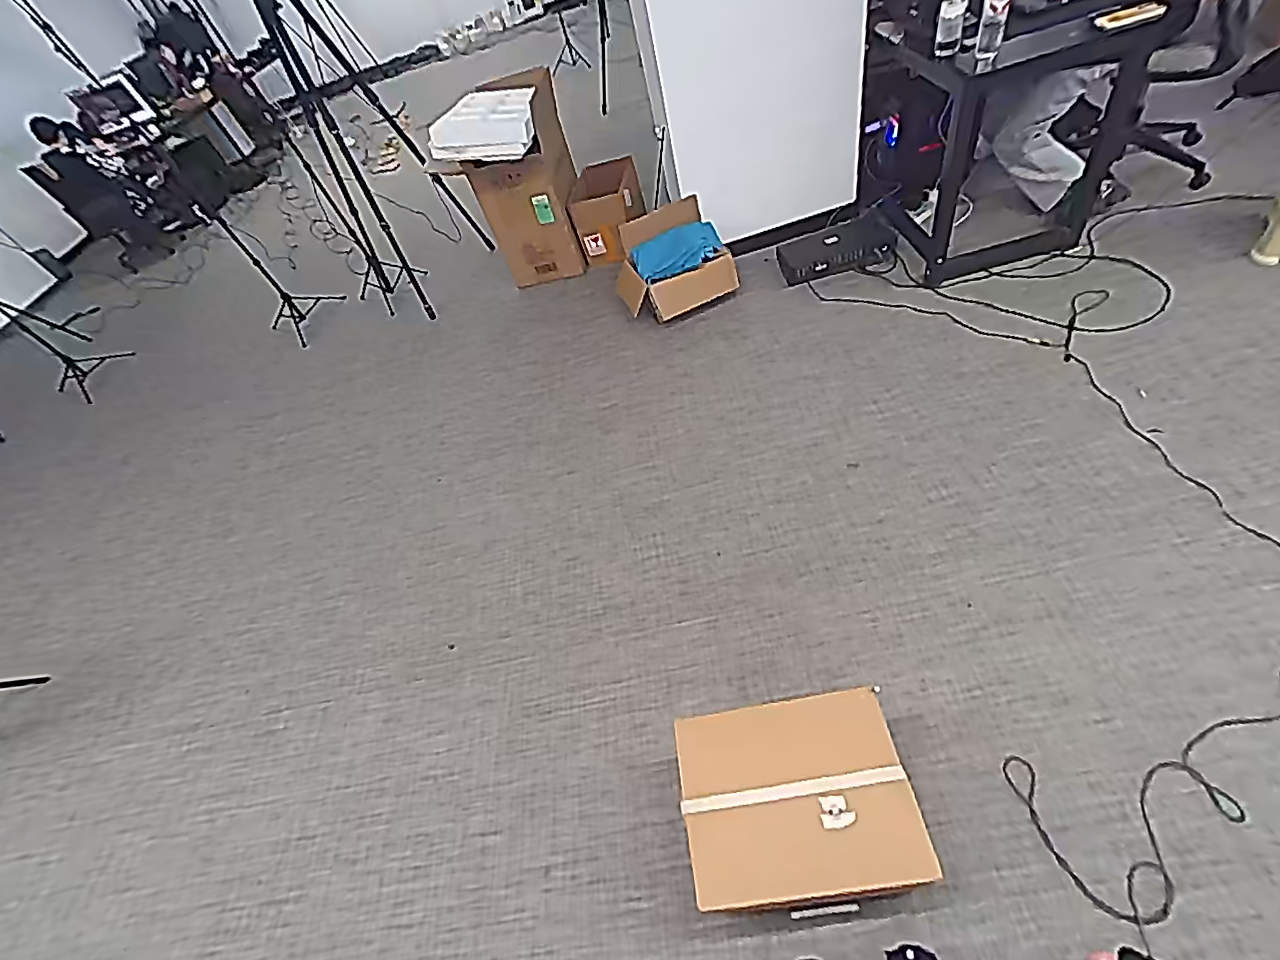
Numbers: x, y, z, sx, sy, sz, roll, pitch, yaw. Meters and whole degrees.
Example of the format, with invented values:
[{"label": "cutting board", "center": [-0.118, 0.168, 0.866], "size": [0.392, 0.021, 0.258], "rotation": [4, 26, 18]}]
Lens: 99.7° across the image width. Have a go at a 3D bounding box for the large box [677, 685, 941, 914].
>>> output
[{"label": "large box", "center": [0.316, 0.659, 1.103], "size": [0.408, 0.320, 0.320], "rotation": [-13, 49, 7]}]
